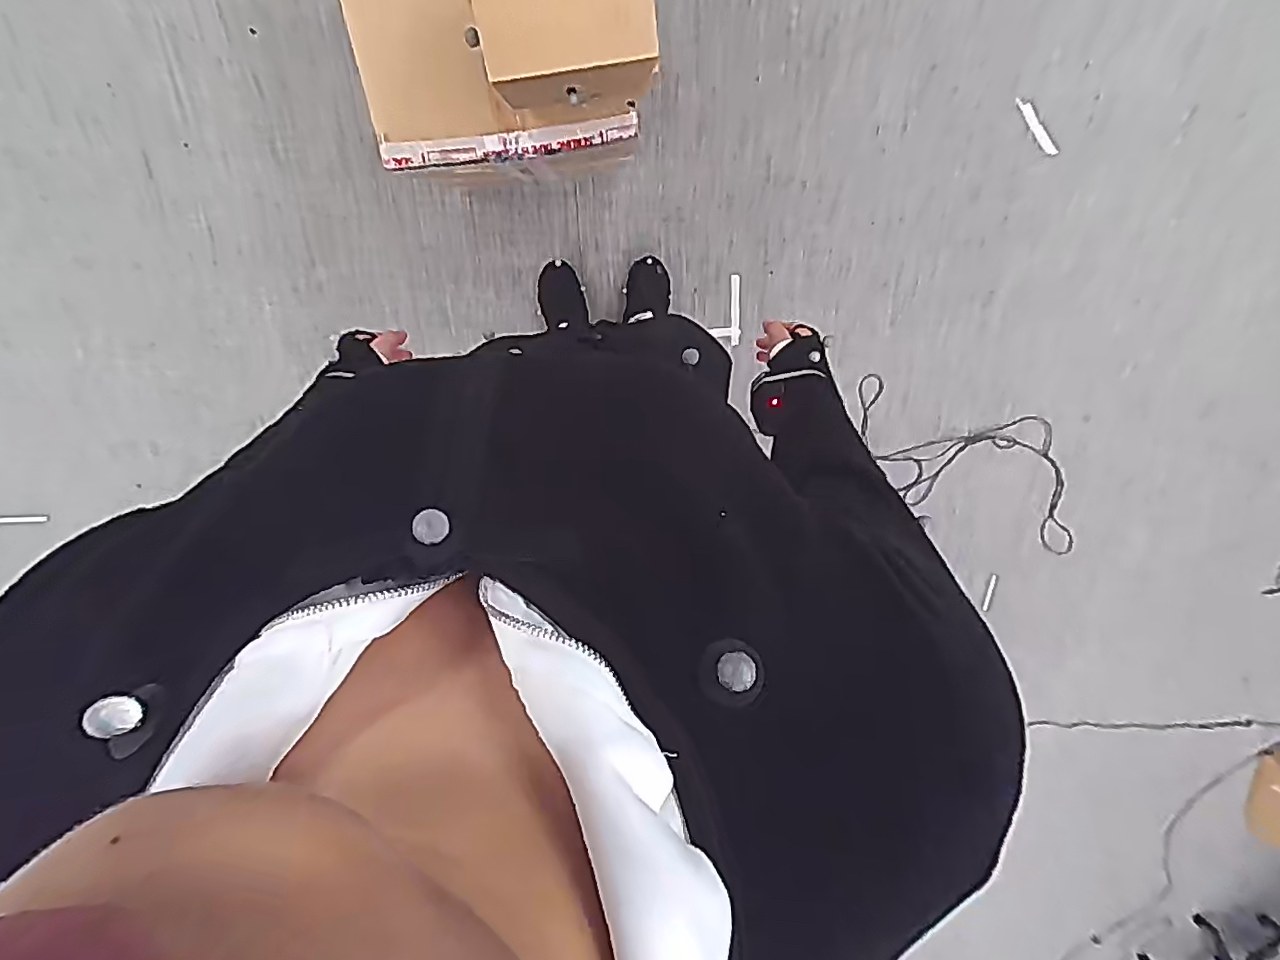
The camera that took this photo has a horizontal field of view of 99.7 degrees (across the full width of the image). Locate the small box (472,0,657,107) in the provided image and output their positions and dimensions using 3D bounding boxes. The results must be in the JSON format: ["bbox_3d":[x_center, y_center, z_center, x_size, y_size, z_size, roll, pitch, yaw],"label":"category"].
[{"bbox_3d":[-0.079,-0.497,0.547,0.168,0.176,0.179,-9,117,-1],"label":"small box"}]

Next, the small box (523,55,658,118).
[{"bbox_3d":[-0.080,-0.581,0.690,0.179,0.176,0.168,-9,117,0],"label":"small box"}]
